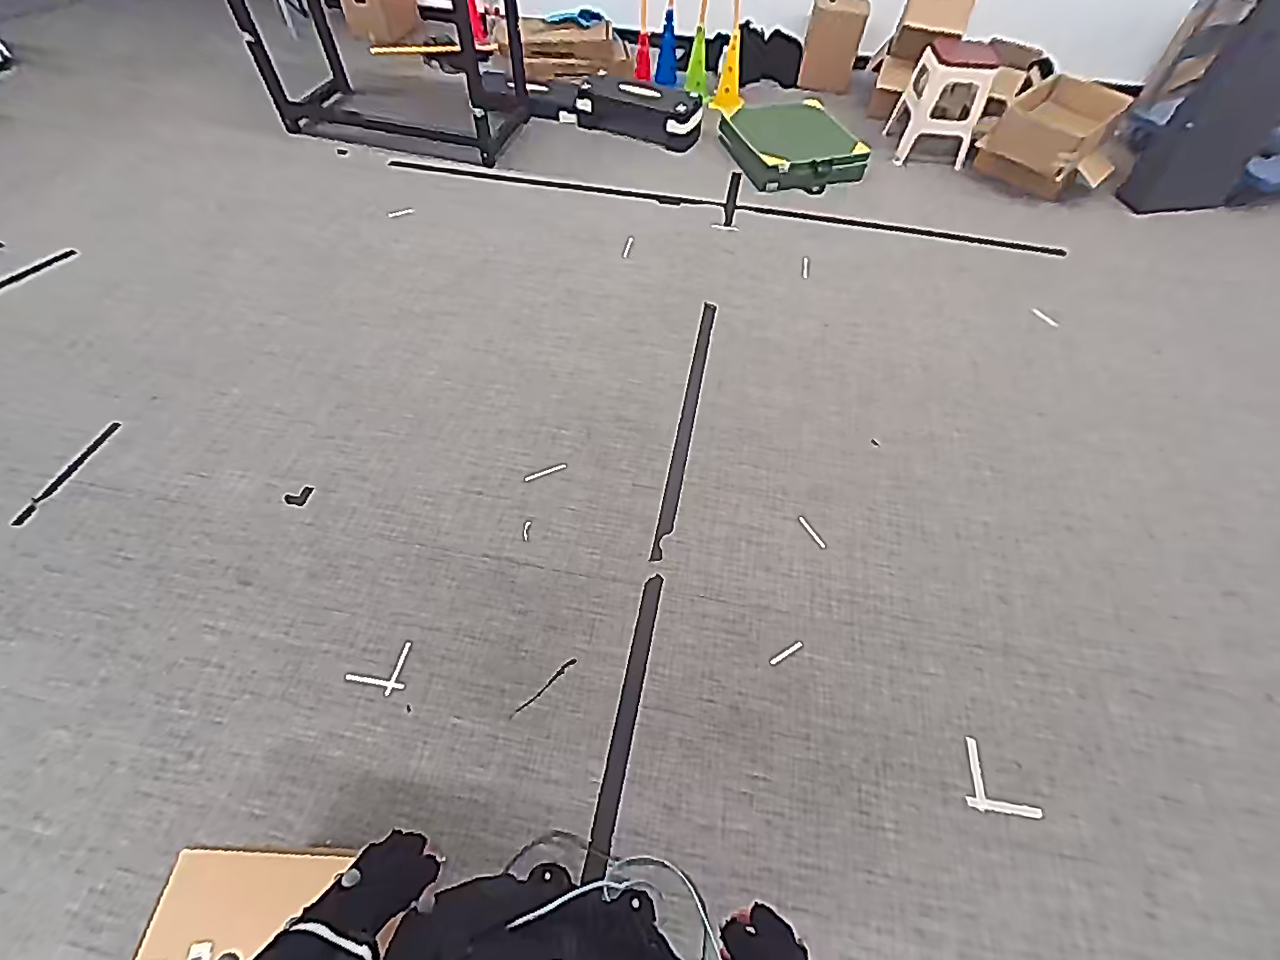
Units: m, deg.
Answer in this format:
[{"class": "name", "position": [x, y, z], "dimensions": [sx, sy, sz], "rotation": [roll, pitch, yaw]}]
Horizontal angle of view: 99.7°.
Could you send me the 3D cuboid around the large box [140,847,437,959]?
[{"class": "large box", "position": [-0.594, 0.837, 0.943], "dimensions": [0.320, 0.408, 0.320], "rotation": [5, 57, 0]}]
